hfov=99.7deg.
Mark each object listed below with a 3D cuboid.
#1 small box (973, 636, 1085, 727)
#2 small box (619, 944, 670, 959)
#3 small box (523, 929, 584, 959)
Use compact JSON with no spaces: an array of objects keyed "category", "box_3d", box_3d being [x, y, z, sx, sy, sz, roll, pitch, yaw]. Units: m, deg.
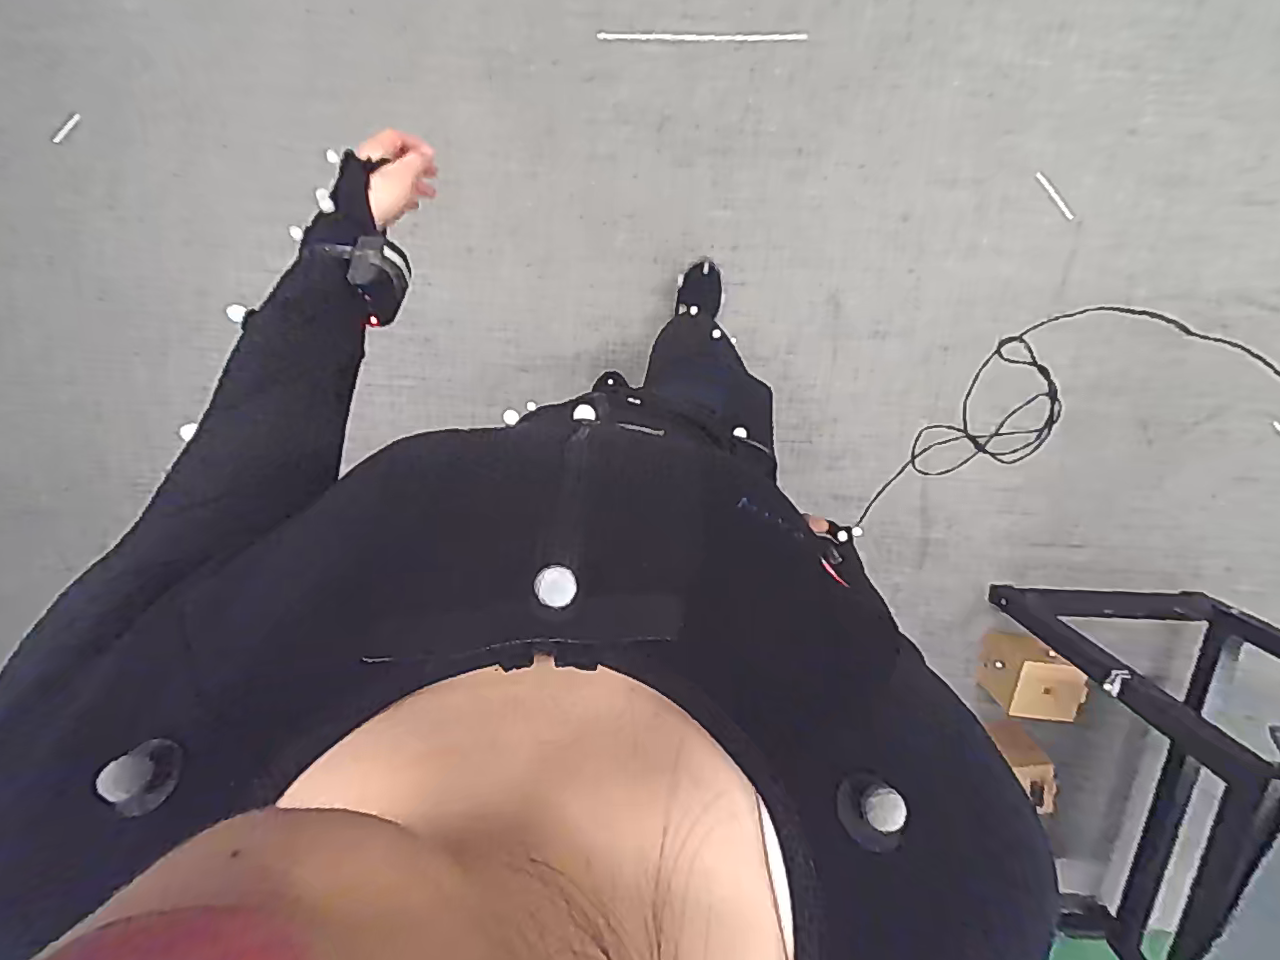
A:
[{"category":"small box","box_3d":[1.068,0.552,1.501,0.179,0.176,0.168,6,103,0]},{"category":"small box","box_3d":[0.009,1.711,1.808,0.179,0.176,0.168,36,103,-7]},{"category":"small box","box_3d":[-0.291,1.646,1.802,0.179,0.176,0.168,-13,102,6]}]
